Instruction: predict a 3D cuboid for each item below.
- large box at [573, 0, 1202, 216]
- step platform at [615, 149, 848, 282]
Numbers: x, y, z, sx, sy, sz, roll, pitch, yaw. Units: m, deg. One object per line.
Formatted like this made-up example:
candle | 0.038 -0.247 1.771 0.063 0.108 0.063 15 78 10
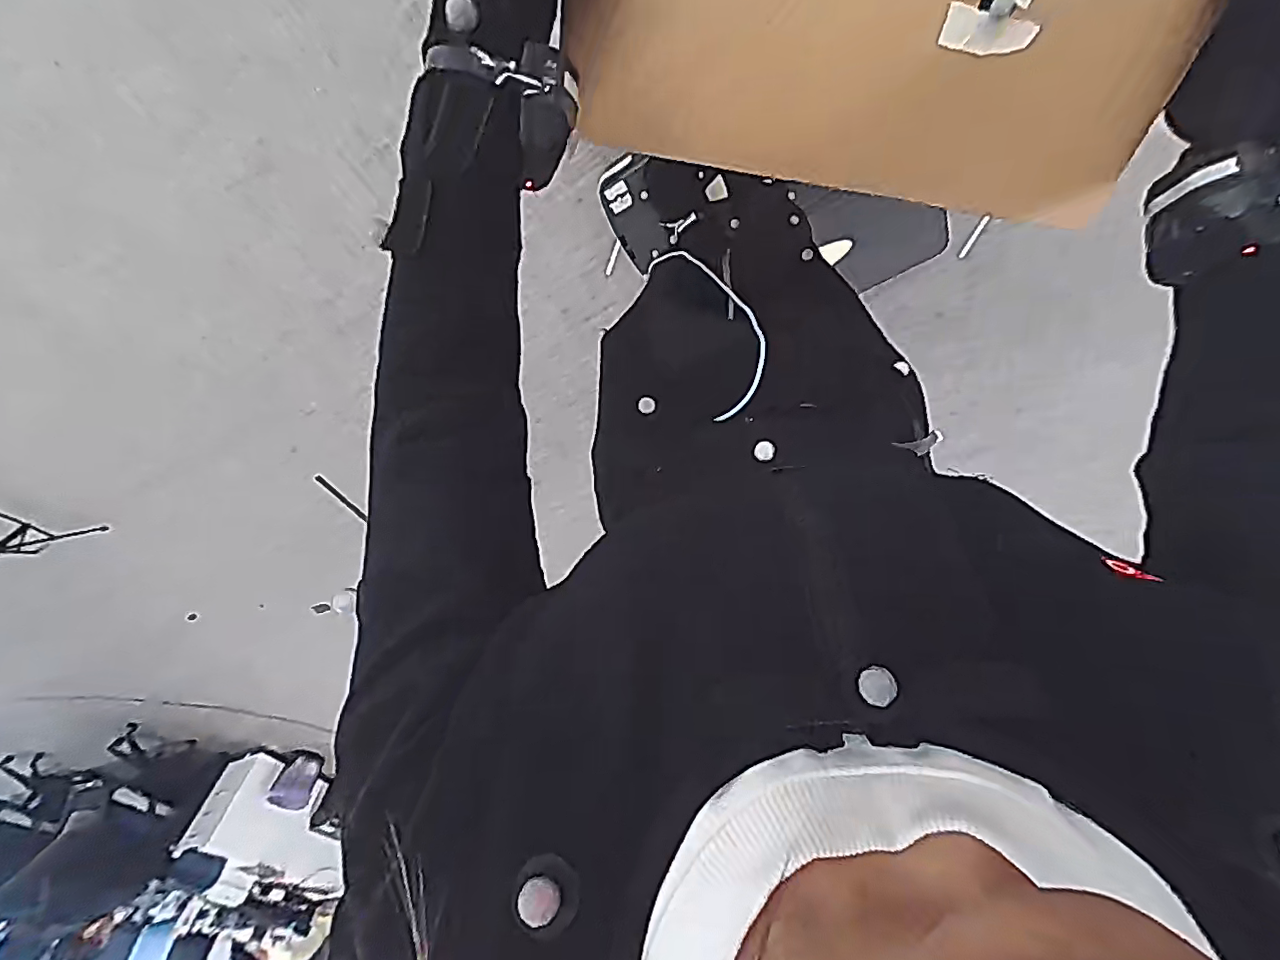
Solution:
large box | 0.171 -0.444 0.437 0.408 0.320 0.320 9 130 -3
step platform | 0.281 -0.733 1.186 0.684 0.204 0.286 -25 123 23
